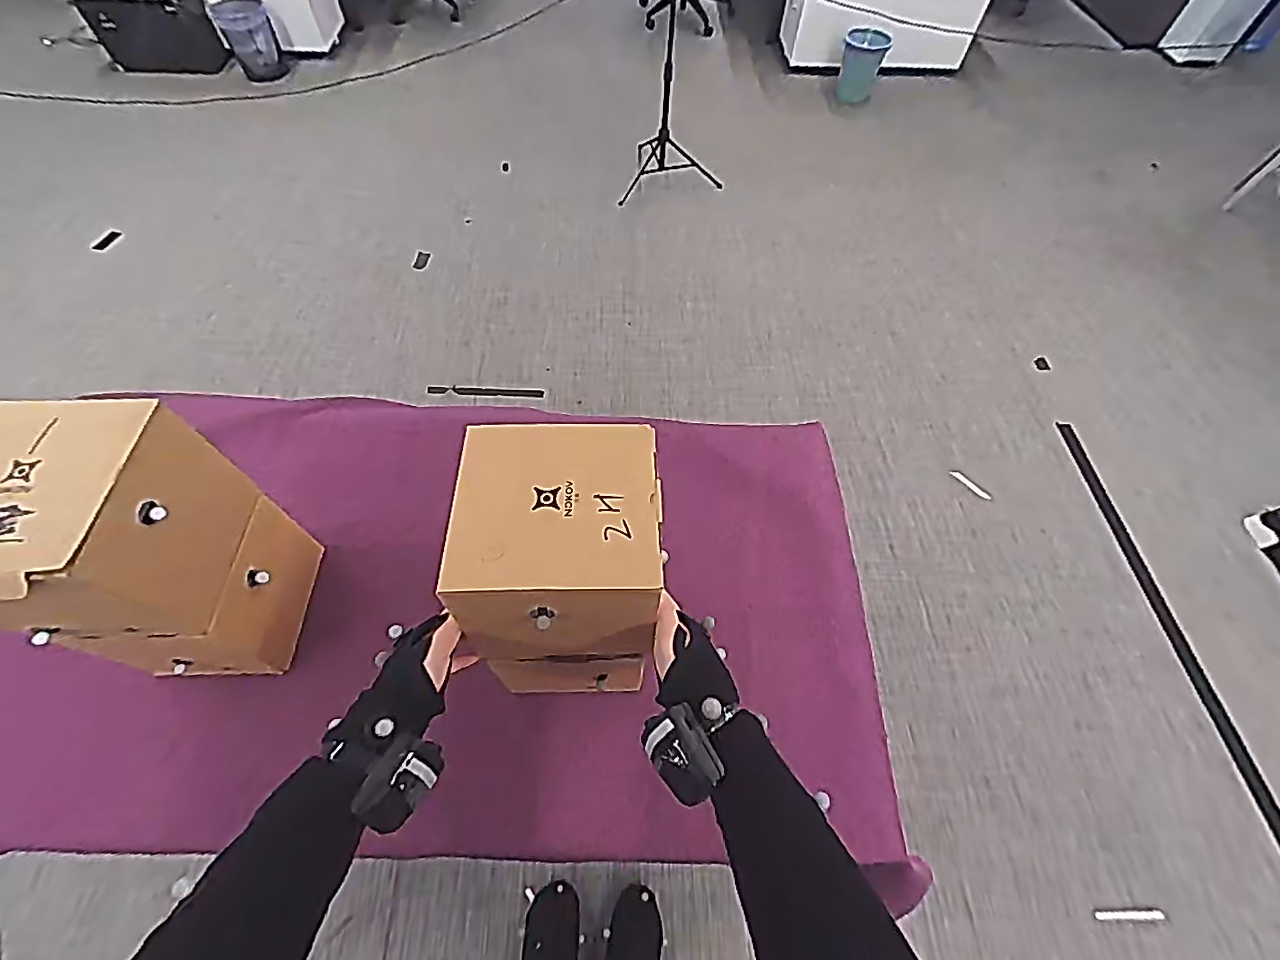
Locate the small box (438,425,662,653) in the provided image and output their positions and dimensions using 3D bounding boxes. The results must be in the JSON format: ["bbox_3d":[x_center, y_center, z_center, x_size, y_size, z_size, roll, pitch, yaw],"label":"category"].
[{"bbox_3d":[-0.073,0.063,0.524,0.179,0.176,0.168,1,56,-3],"label":"small box"}]

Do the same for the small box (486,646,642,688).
[{"bbox_3d":[-0.079,0.153,0.667,0.168,0.176,0.179,1,58,-2],"label":"small box"}]

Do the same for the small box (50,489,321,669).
[{"bbox_3d":[-0.528,0.125,0.667,0.168,0.176,0.179,0,60,-2],"label":"small box"}]

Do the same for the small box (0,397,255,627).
[{"bbox_3d":[-0.522,0.039,0.526,0.168,0.176,0.179,-1,59,-3],"label":"small box"}]
